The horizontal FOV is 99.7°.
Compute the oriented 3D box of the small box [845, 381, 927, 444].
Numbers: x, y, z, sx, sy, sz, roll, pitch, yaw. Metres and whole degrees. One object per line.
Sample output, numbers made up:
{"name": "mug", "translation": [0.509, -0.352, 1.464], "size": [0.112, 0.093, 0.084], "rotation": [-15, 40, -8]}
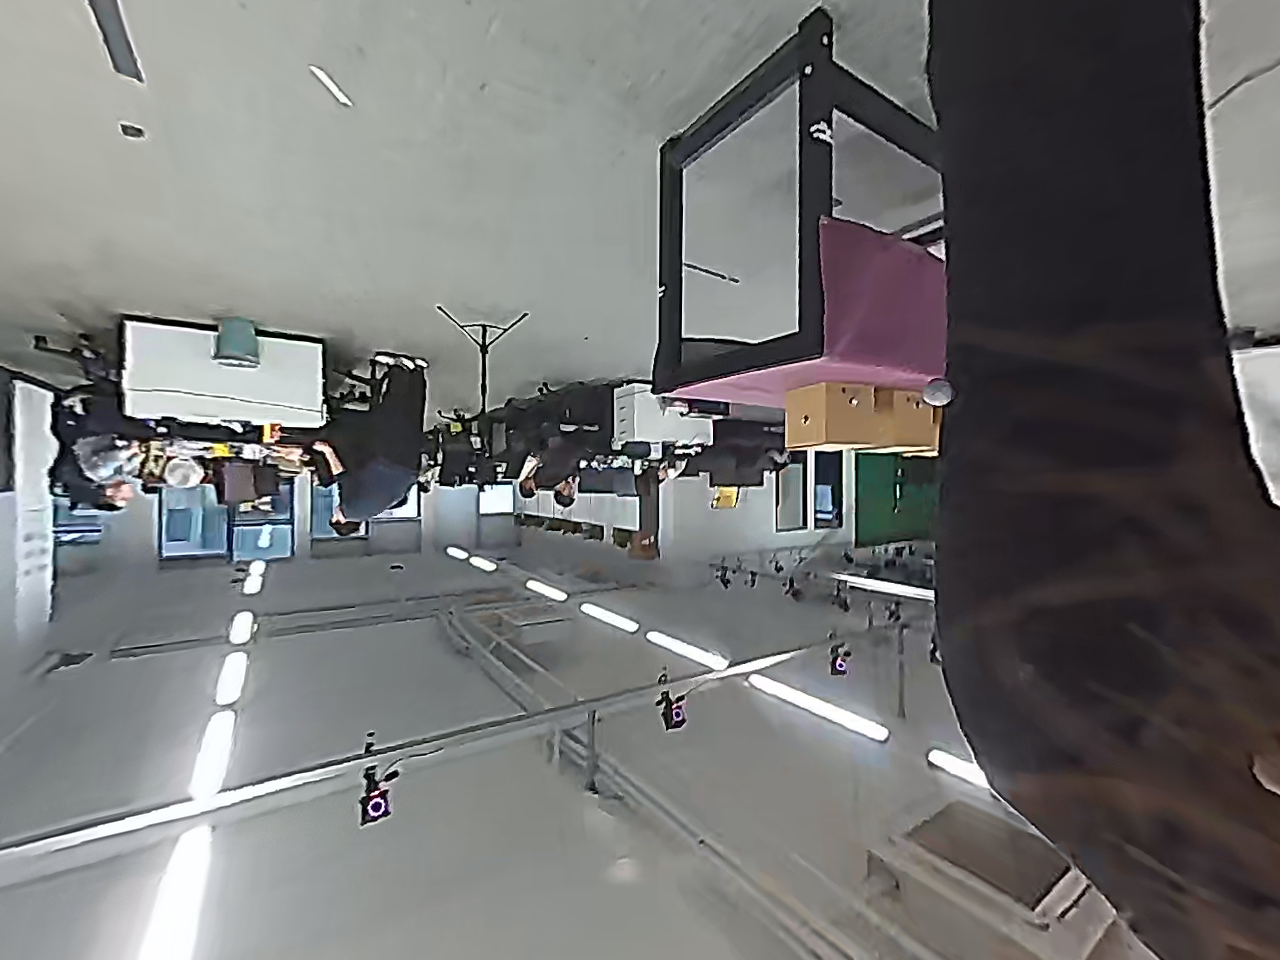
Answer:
{"name": "small box", "translation": [0.746, -0.200, 1.641], "size": [0.168, 0.176, 0.179], "rotation": [-1, -179, -25]}

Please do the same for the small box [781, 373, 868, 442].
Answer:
{"name": "small box", "translation": [0.514, -0.197, 1.508], "size": [0.168, 0.176, 0.179], "rotation": [-1, 180, -21]}

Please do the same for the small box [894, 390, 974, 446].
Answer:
{"name": "small box", "translation": [0.961, -0.201, 1.775], "size": [0.168, 0.176, 0.179], "rotation": [0, -179, -26]}
